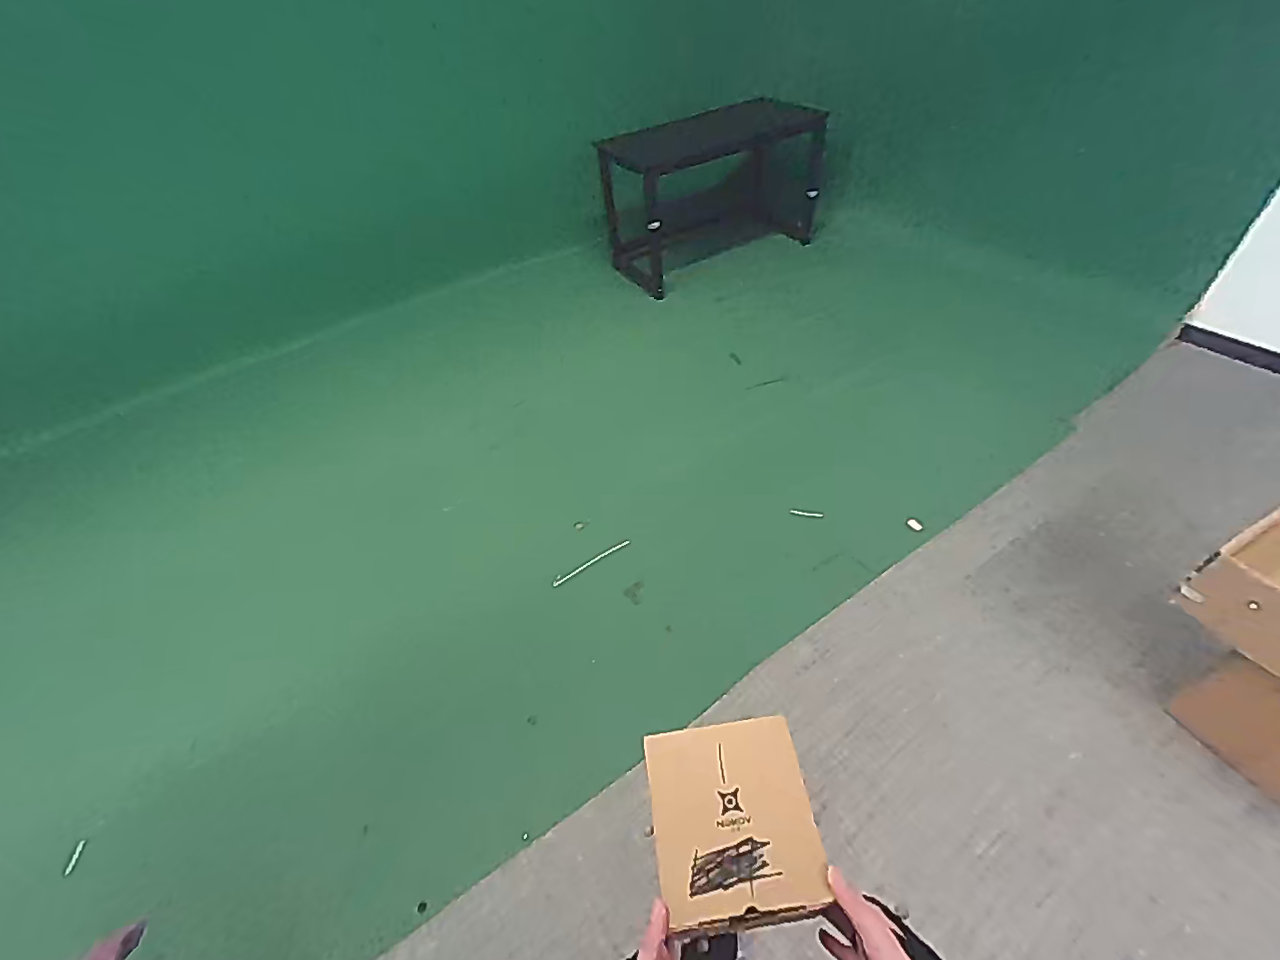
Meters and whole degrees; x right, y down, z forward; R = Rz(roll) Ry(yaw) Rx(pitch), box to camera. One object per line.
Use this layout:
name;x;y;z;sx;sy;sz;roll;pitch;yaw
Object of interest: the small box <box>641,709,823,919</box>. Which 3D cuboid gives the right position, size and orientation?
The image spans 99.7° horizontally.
small box;0.100;0.394;0.633;0.168;0.176;0.179;-9;48;1
